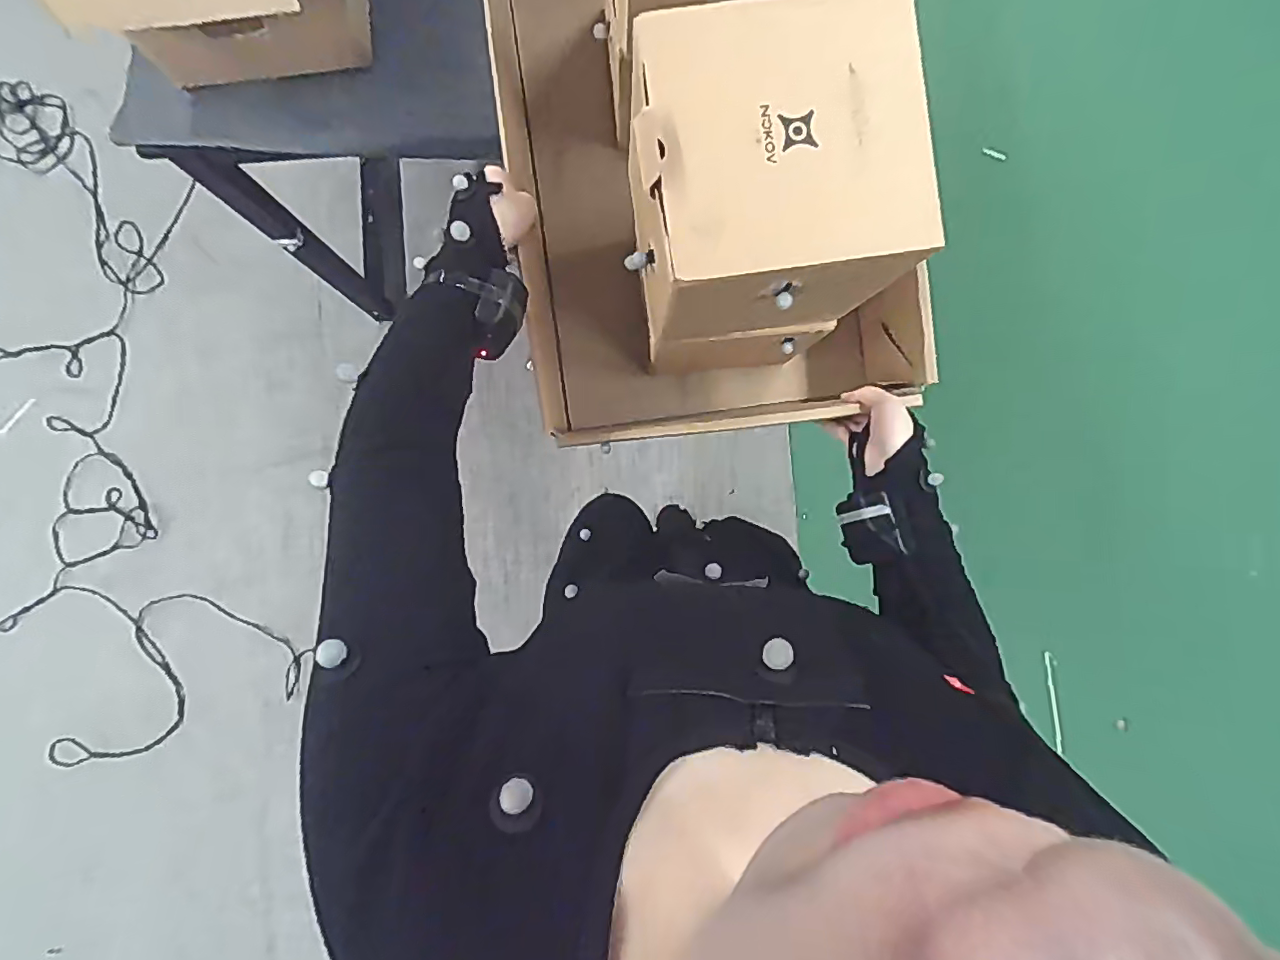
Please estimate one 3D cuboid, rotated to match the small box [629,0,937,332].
[{"bbox_3d":[0.088,-0.222,0.416,0.179,0.176,0.168,-9,92,-2],"label":"small box"}]
